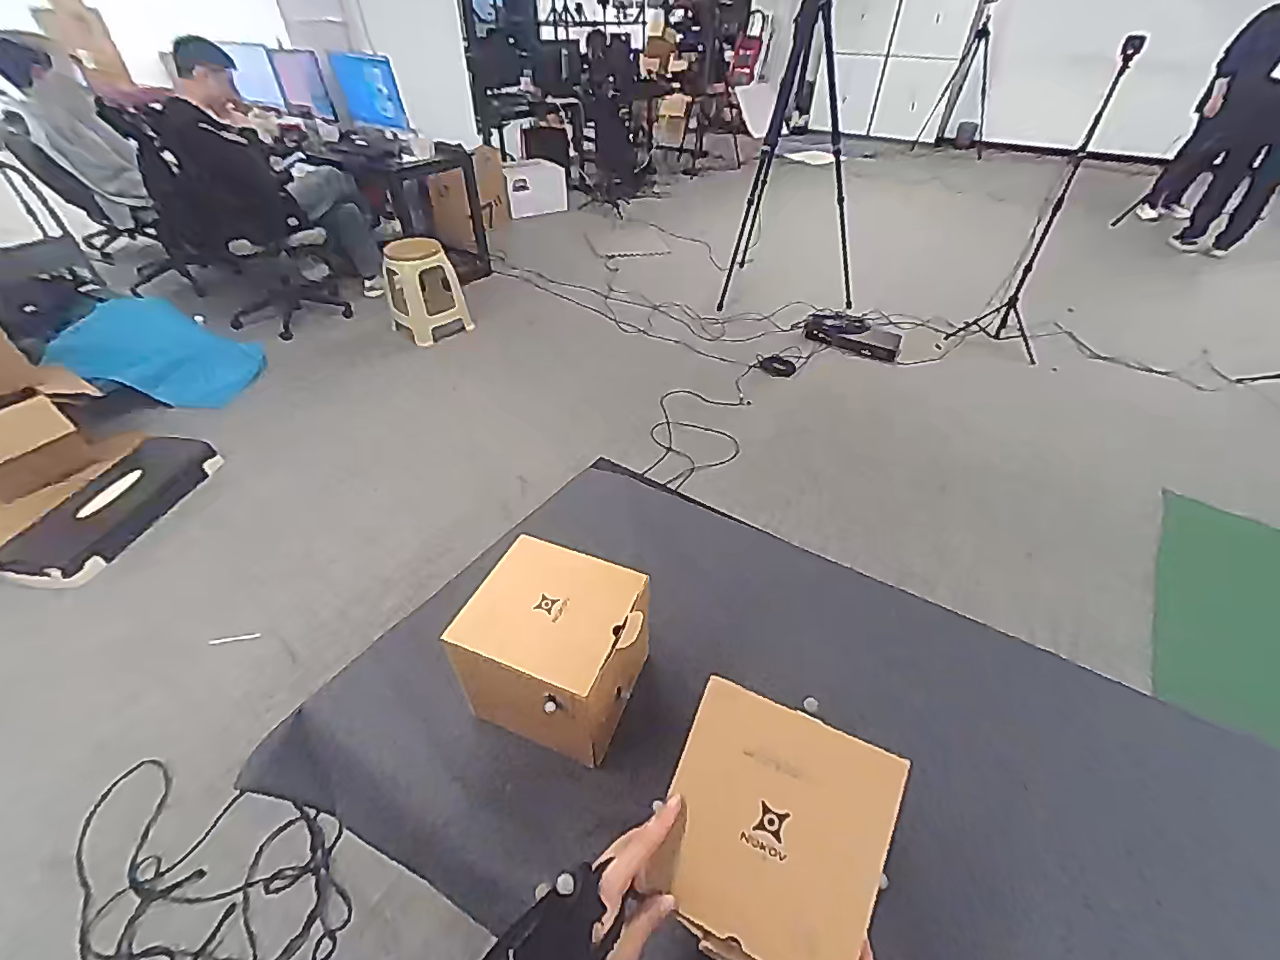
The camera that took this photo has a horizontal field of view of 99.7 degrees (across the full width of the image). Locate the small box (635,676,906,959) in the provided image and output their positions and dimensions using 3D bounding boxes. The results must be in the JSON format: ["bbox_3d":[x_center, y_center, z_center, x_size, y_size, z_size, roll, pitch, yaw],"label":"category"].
[{"bbox_3d":[0.117,0.297,0.491,0.168,0.176,0.179,18,73,18],"label":"small box"}]

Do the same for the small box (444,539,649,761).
[{"bbox_3d":[-0.099,0.203,0.649,0.179,0.176,0.168,15,42,16],"label":"small box"}]
